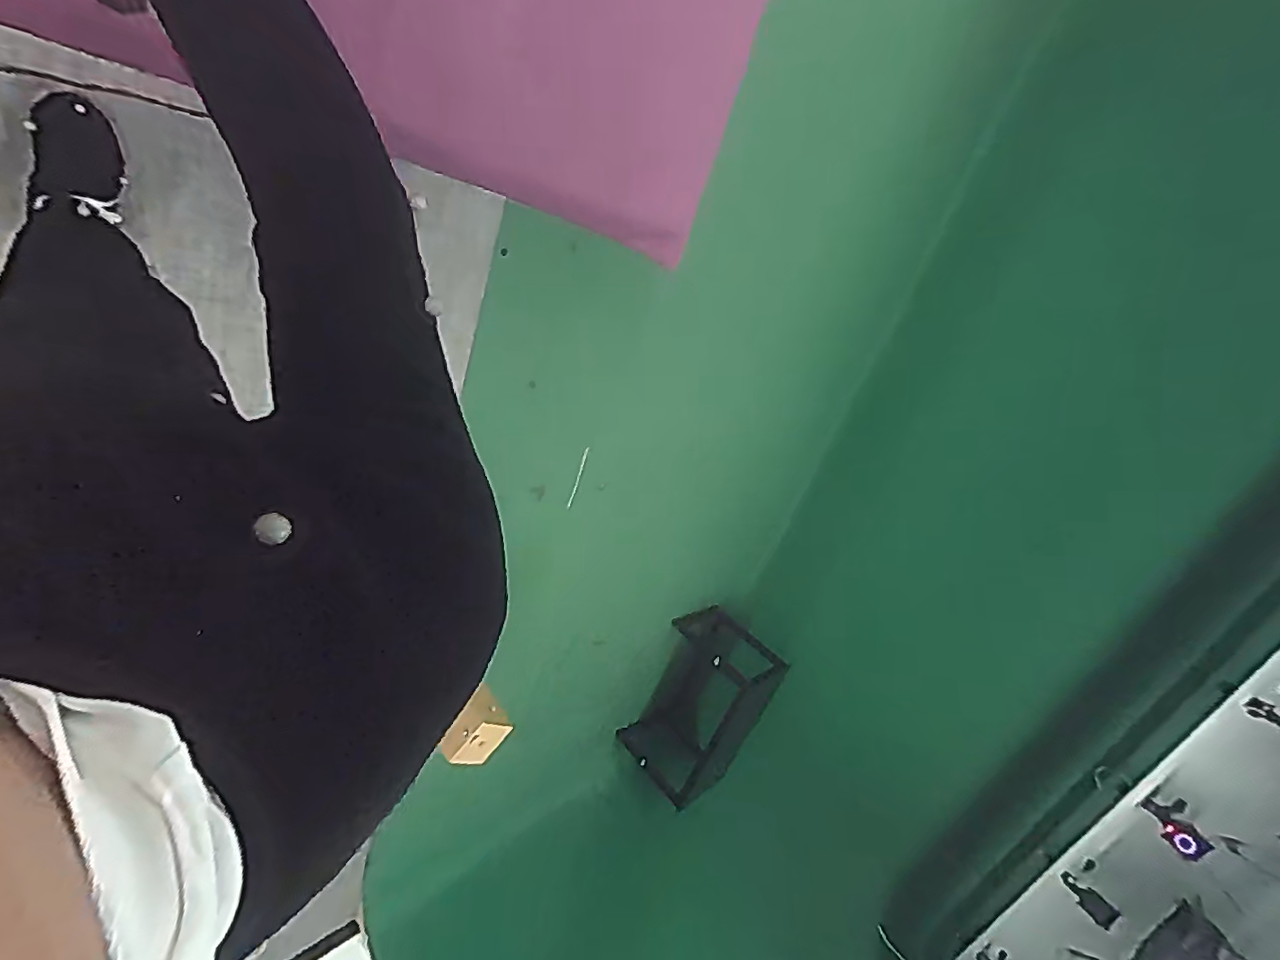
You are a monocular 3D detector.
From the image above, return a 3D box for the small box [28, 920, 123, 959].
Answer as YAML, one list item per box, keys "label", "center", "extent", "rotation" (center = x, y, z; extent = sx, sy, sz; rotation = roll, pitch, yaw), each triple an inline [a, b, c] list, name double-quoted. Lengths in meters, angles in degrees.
- label: "small box"
  center: [-1.439, 1.285, 1.373]
  extent: [0.168, 0.176, 0.179]
  rotation: [5, 115, -51]

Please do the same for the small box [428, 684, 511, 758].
- label: "small box"
  center: [-0.586, 0.826, 1.859]
  extent: [0.168, 0.176, 0.179]
  rotation: [-49, 145, -6]
